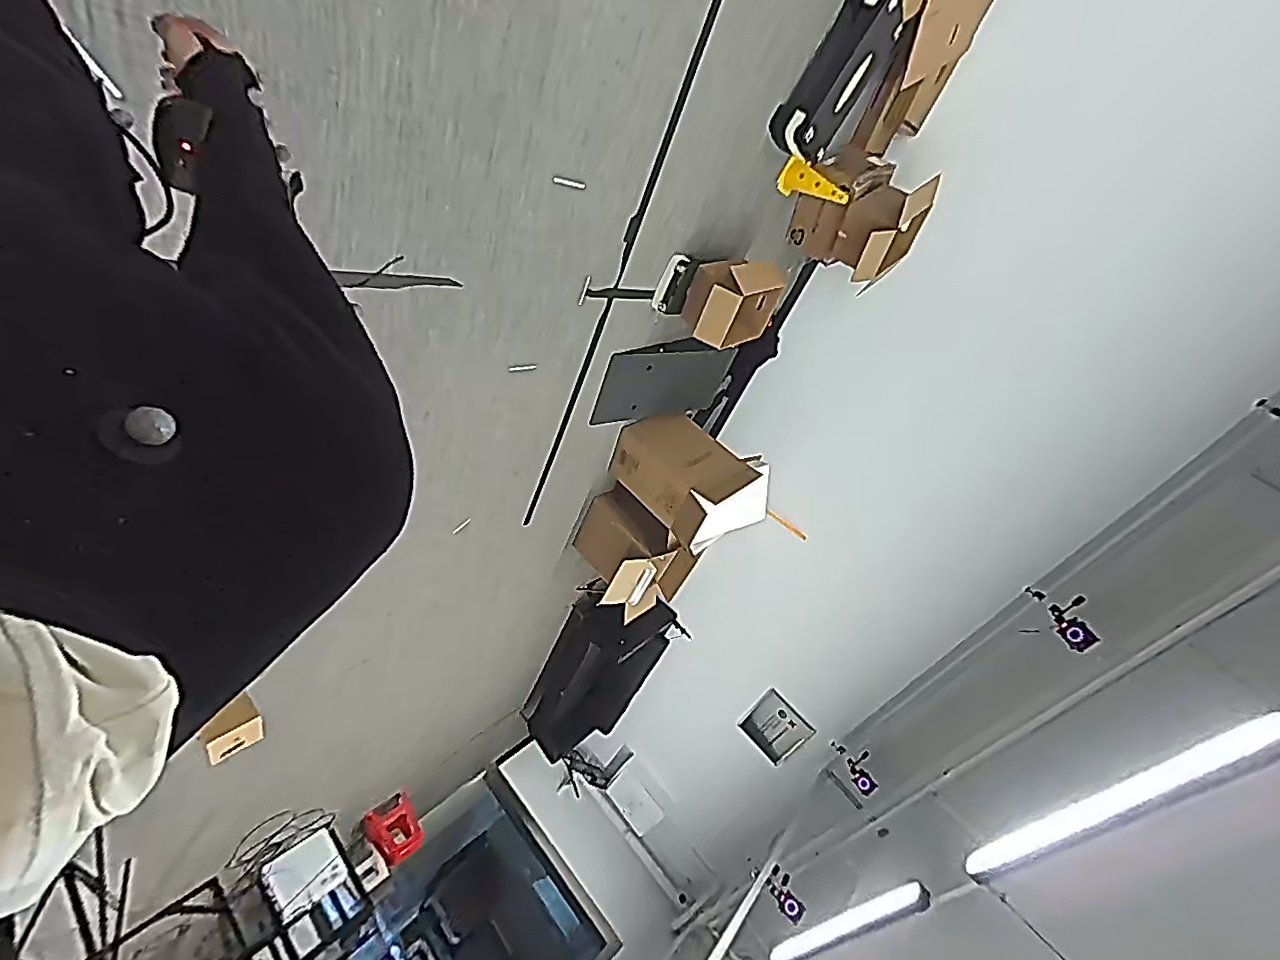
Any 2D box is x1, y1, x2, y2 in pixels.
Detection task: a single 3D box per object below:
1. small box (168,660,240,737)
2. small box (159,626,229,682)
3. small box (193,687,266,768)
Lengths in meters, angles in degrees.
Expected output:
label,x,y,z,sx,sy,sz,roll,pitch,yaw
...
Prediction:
label,x,y,z,sx,sy,sz,roll,pitch,yaw
small box,-1.619,0.812,2.026,0.179,0.176,0.168,-26,150,-44
small box,-1.722,0.704,2.095,0.168,0.176,0.179,-25,149,-45
small box,-1.488,0.894,1.964,0.168,0.176,0.179,-24,148,-48
